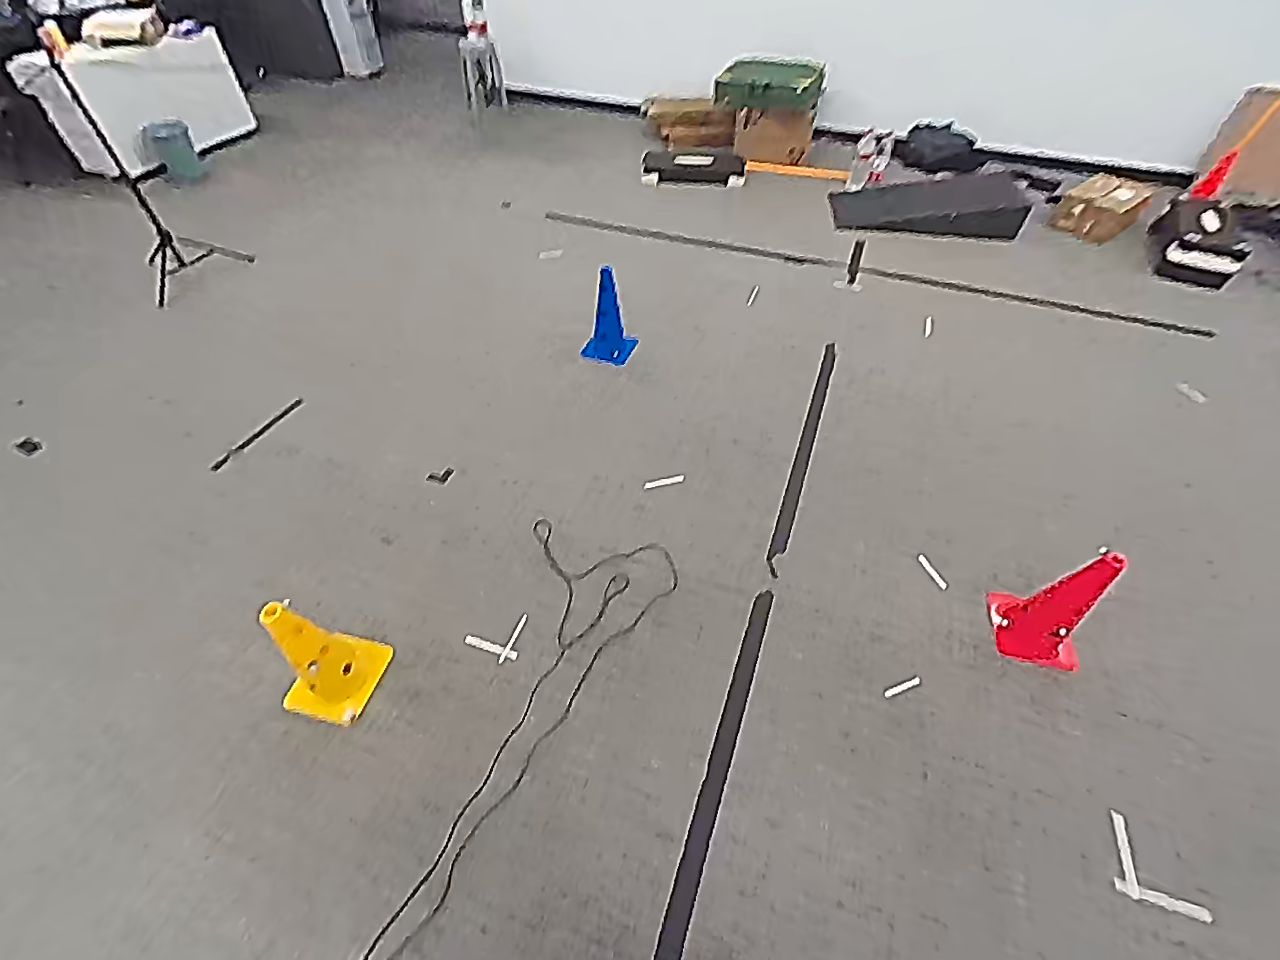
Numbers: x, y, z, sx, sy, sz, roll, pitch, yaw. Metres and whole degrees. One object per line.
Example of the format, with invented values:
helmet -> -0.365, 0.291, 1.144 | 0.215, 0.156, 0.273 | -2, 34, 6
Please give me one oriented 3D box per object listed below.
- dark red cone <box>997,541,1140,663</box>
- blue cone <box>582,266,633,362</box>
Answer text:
dark red cone -> 1.072, 0.275, 1.325 | 0.201, 0.394, 0.202 | 10, 49, 9
blue cone -> -0.138, -0.675, 2.181 | 0.192, 0.380, 0.193 | 16, 50, 15
